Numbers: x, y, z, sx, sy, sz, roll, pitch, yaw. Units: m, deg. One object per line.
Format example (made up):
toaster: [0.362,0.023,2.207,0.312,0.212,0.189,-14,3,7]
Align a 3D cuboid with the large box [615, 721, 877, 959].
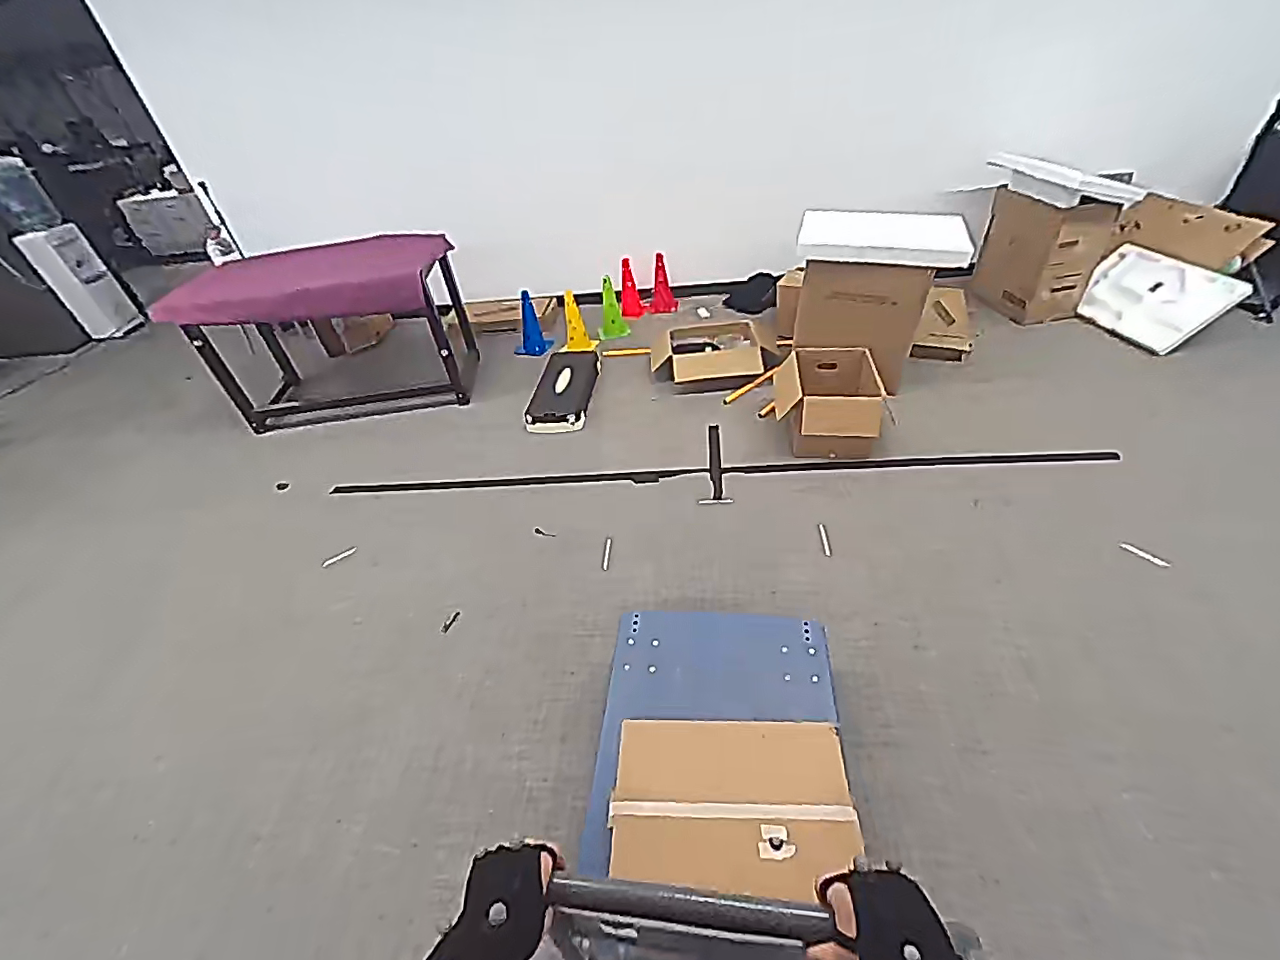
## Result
large box: [0.173,0.679,1.024,0.408,0.320,0.320,-2,41,5]
